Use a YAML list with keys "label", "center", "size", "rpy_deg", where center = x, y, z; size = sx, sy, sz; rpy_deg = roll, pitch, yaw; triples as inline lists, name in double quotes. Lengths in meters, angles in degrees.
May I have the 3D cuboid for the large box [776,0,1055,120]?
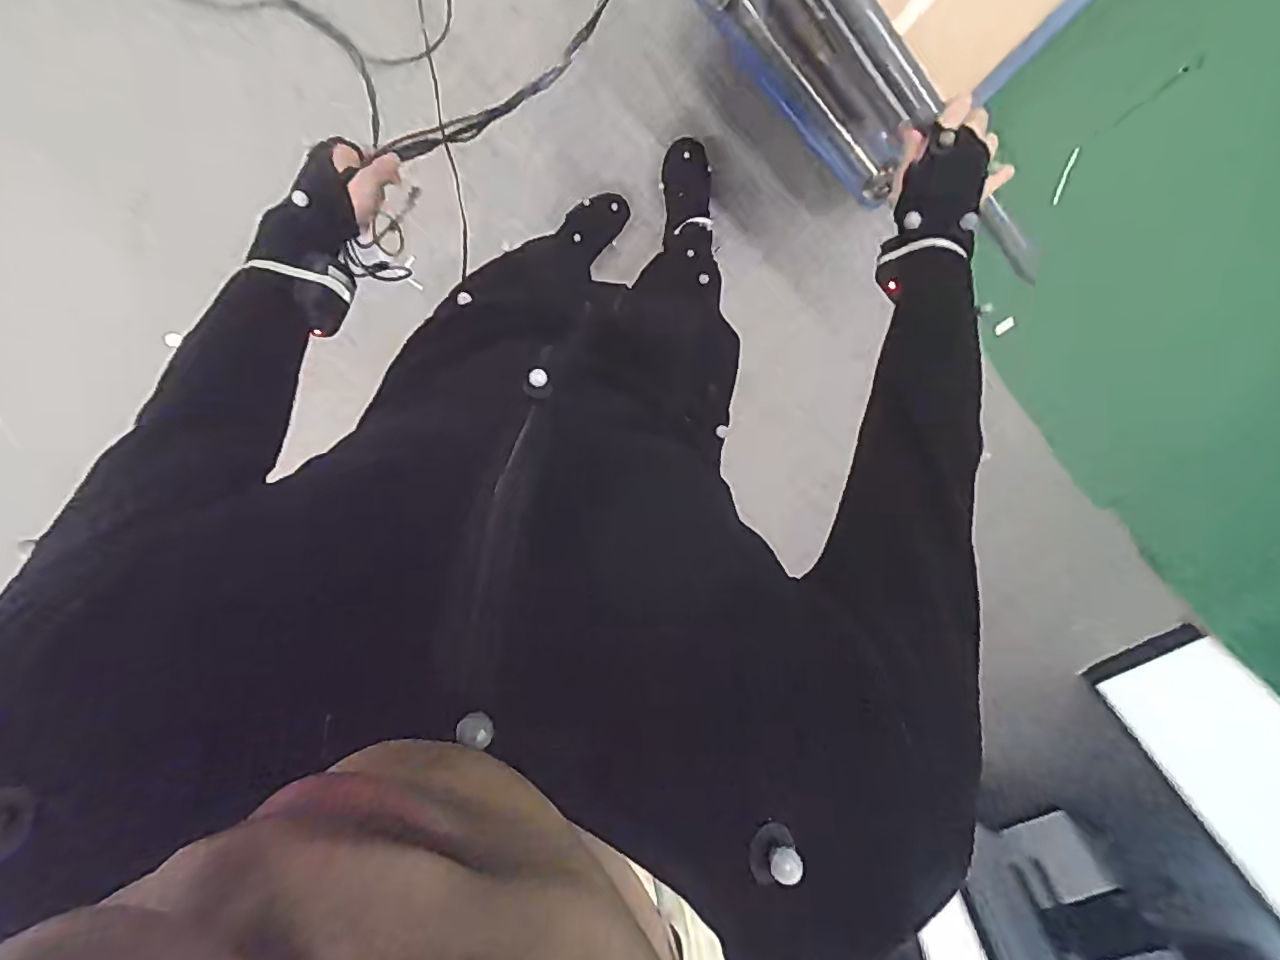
- label: "large box"
  center: [0.485, -0.861, 0.852]
  size: [0.320, 0.320, 0.408]
  rpy_deg: [36, 116, -24]
